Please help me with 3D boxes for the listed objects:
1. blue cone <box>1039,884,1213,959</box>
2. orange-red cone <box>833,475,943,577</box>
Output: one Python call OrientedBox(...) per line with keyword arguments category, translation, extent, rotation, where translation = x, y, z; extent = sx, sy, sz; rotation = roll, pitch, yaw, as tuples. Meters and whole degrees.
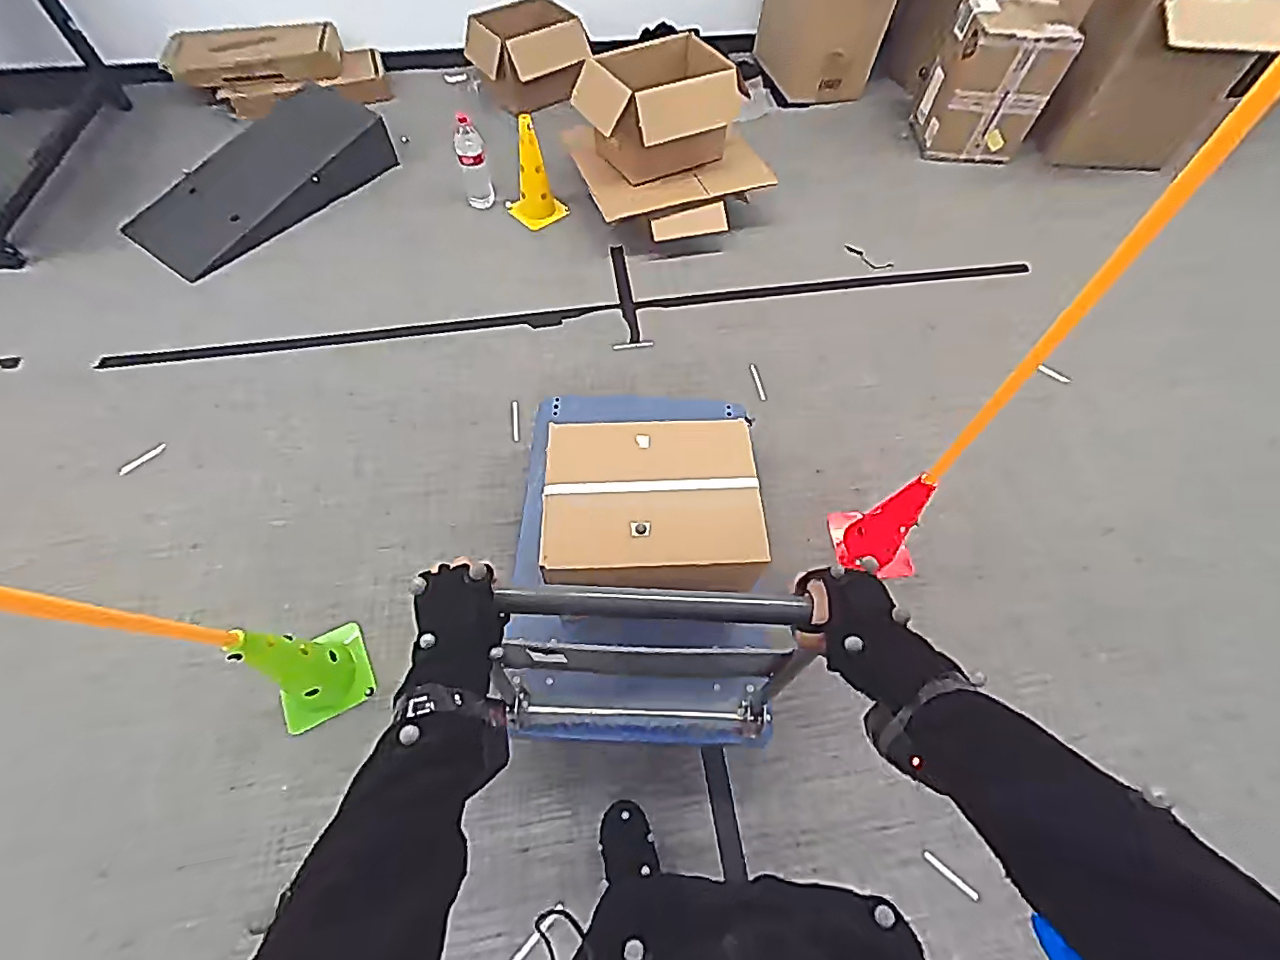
OrientedBox(category="blue cone", translation=(0.917, 0.852, 0.928), extent=(0.193, 0.380, 0.192), rotation=(-11, 59, -8))
OrientedBox(category="orange-red cone", translation=(0.651, 0.089, 1.350), extent=(0.199, 0.360, 0.198), rotation=(-1, 60, -3))
